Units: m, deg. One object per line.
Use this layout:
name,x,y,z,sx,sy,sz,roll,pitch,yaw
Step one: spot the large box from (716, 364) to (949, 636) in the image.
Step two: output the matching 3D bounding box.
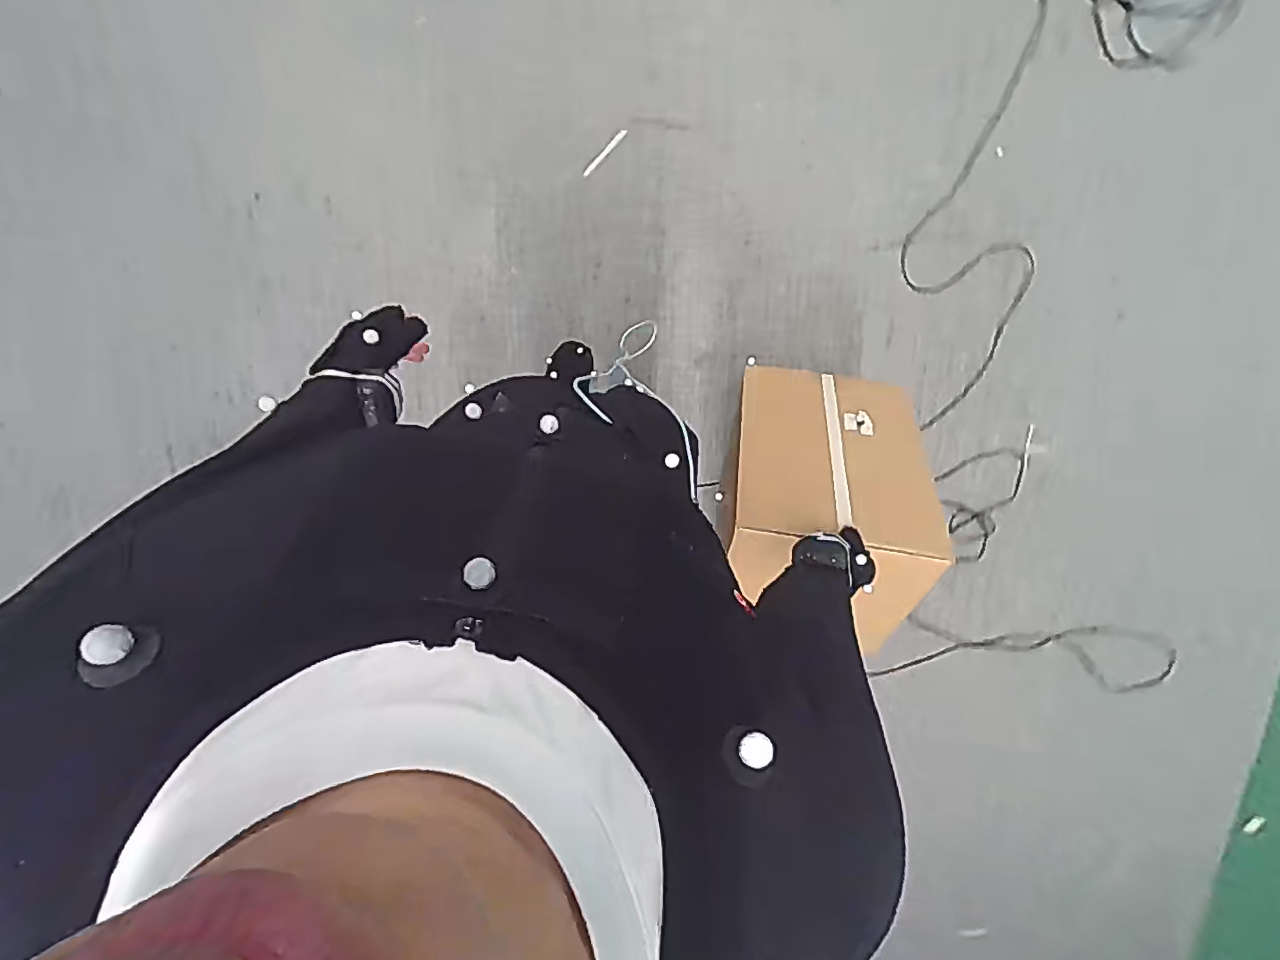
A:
large box,0.321,0.035,1.033,0.320,0.408,0.320,8,138,4
